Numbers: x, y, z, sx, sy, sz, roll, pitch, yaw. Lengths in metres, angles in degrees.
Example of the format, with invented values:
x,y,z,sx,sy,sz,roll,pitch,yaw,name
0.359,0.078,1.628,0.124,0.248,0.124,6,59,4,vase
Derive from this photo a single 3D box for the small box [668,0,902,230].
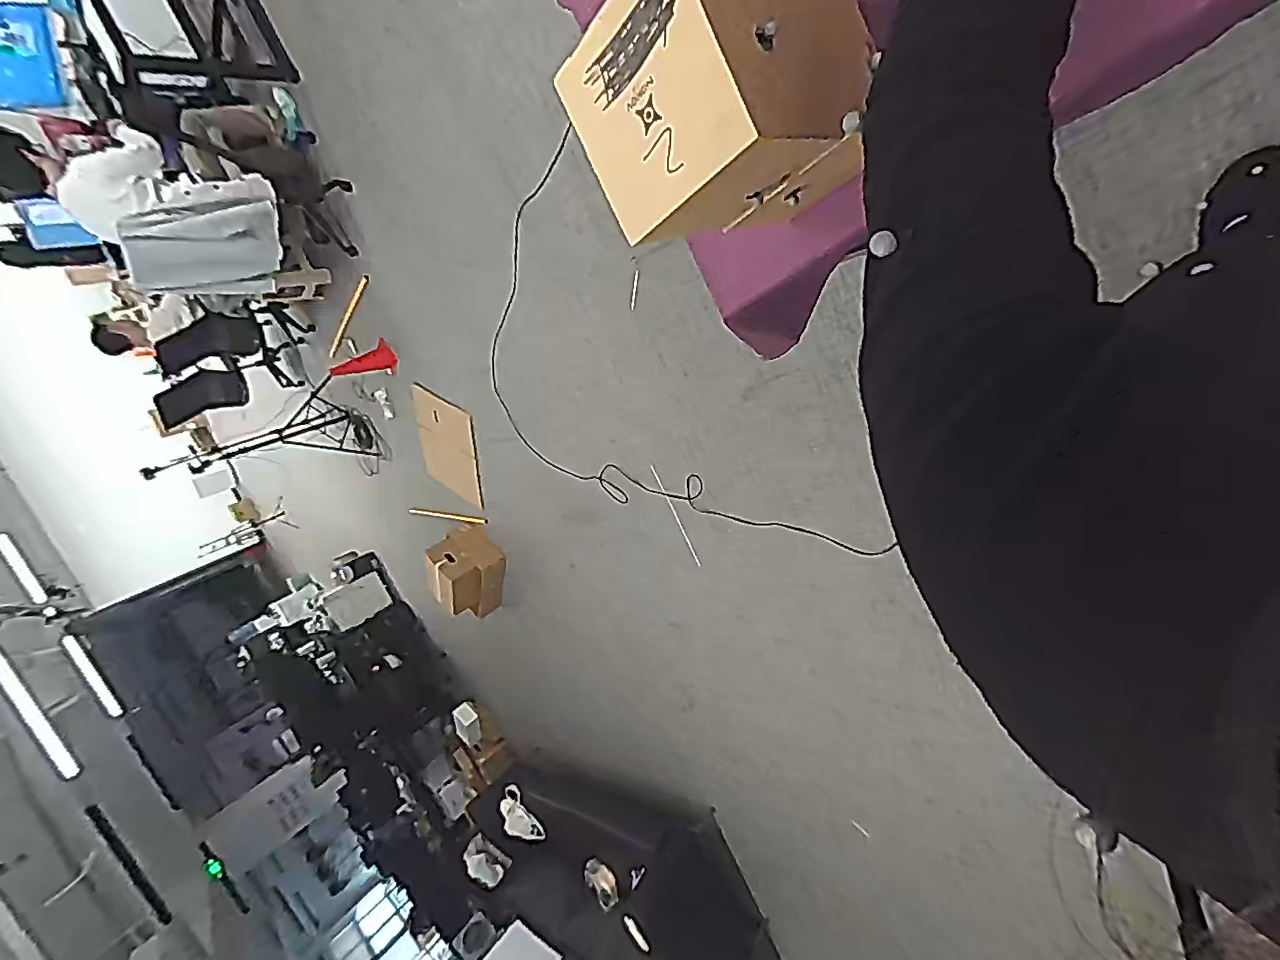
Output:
x,y,z,sx,sy,sz,roll,pitch,yaw,name
0.172,-0.423,0.638,0.179,0.176,0.168,-20,99,49,small box
